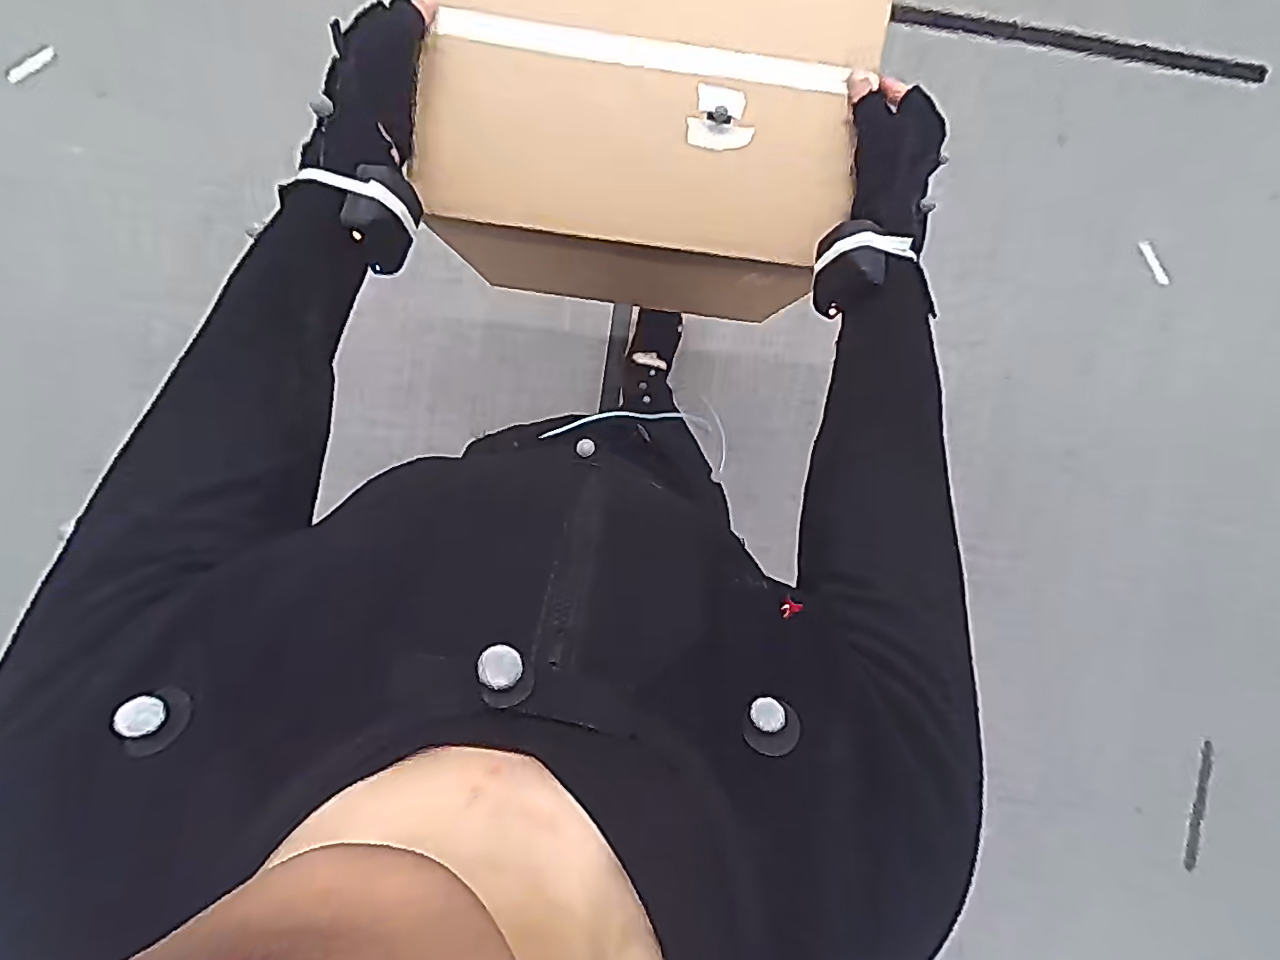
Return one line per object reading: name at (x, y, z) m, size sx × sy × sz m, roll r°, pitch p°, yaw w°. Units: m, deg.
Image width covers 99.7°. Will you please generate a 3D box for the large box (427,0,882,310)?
large box at (0.007, -0.402, 0.634) m, size 0.408 × 0.320 × 0.320 m, roll 6°, pitch 98°, yaw -3°
